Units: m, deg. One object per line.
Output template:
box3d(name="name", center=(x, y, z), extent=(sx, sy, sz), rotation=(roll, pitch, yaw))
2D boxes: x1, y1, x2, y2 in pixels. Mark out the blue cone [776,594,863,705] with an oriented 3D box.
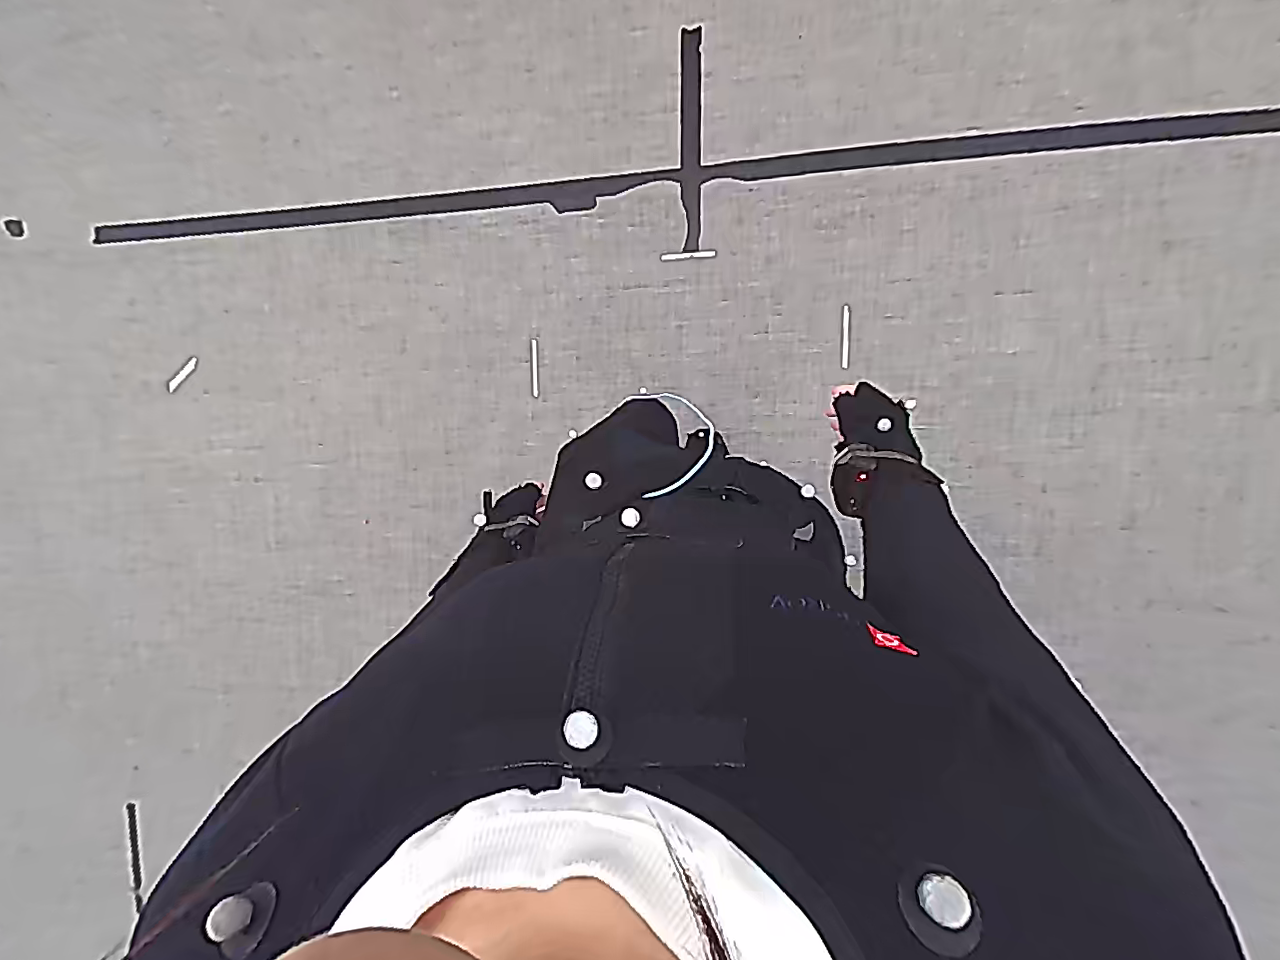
box3d(name="blue cone", center=(0.437, 0.410, 1.255), extent=(0.192, 0.380, 0.193), rotation=(4, 97, 7))
